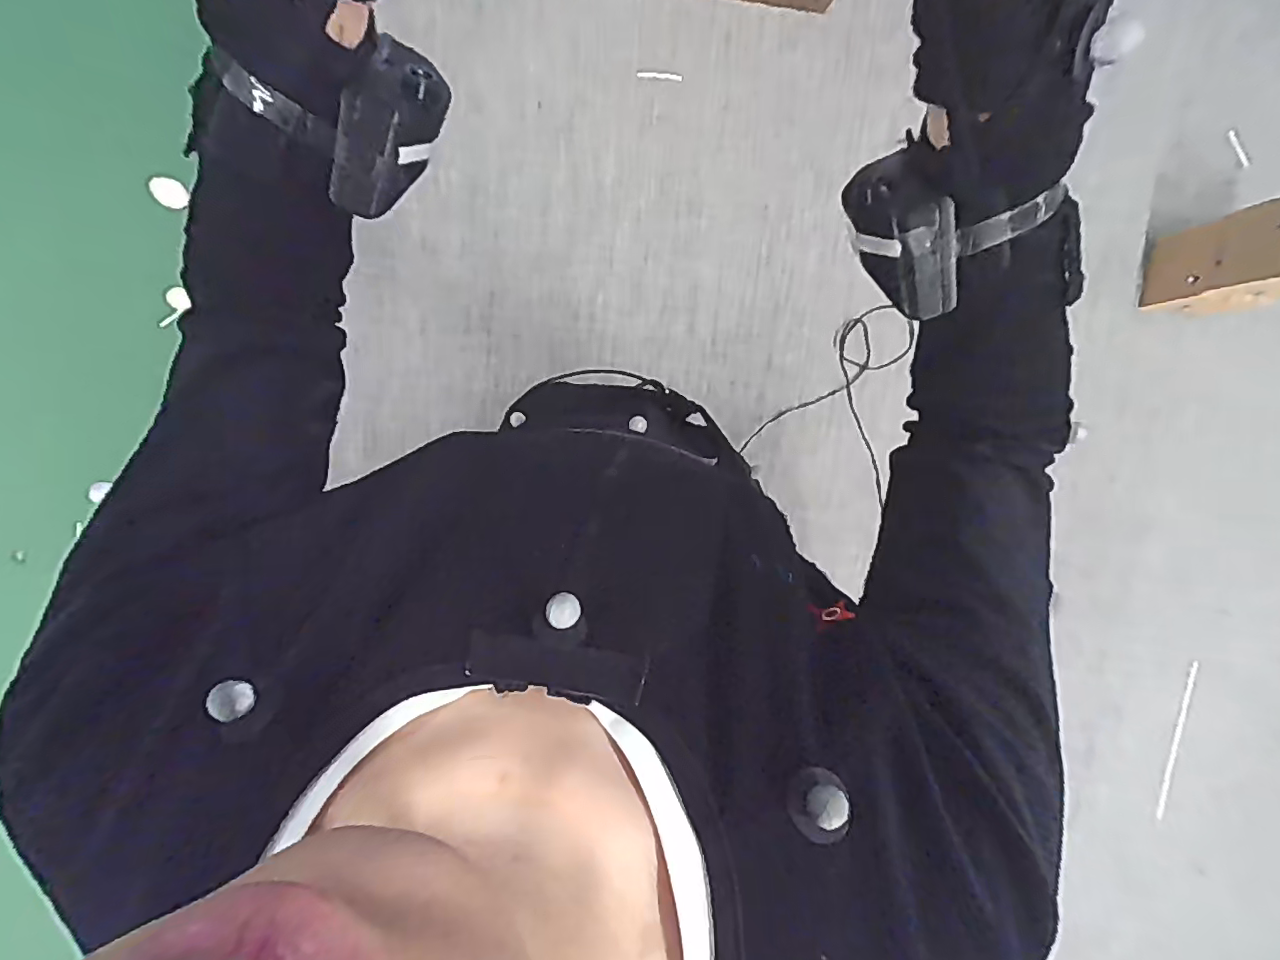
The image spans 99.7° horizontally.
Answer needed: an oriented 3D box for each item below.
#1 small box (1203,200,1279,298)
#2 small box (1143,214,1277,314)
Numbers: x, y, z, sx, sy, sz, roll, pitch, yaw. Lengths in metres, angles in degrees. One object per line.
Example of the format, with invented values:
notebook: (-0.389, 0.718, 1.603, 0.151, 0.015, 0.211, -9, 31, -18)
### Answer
small box: (1.346, -0.479, 1.114, 0.179, 0.176, 0.168, 6, 99, 0)
small box: (1.352, -0.503, 1.277, 0.168, 0.176, 0.179, 6, 99, 1)
